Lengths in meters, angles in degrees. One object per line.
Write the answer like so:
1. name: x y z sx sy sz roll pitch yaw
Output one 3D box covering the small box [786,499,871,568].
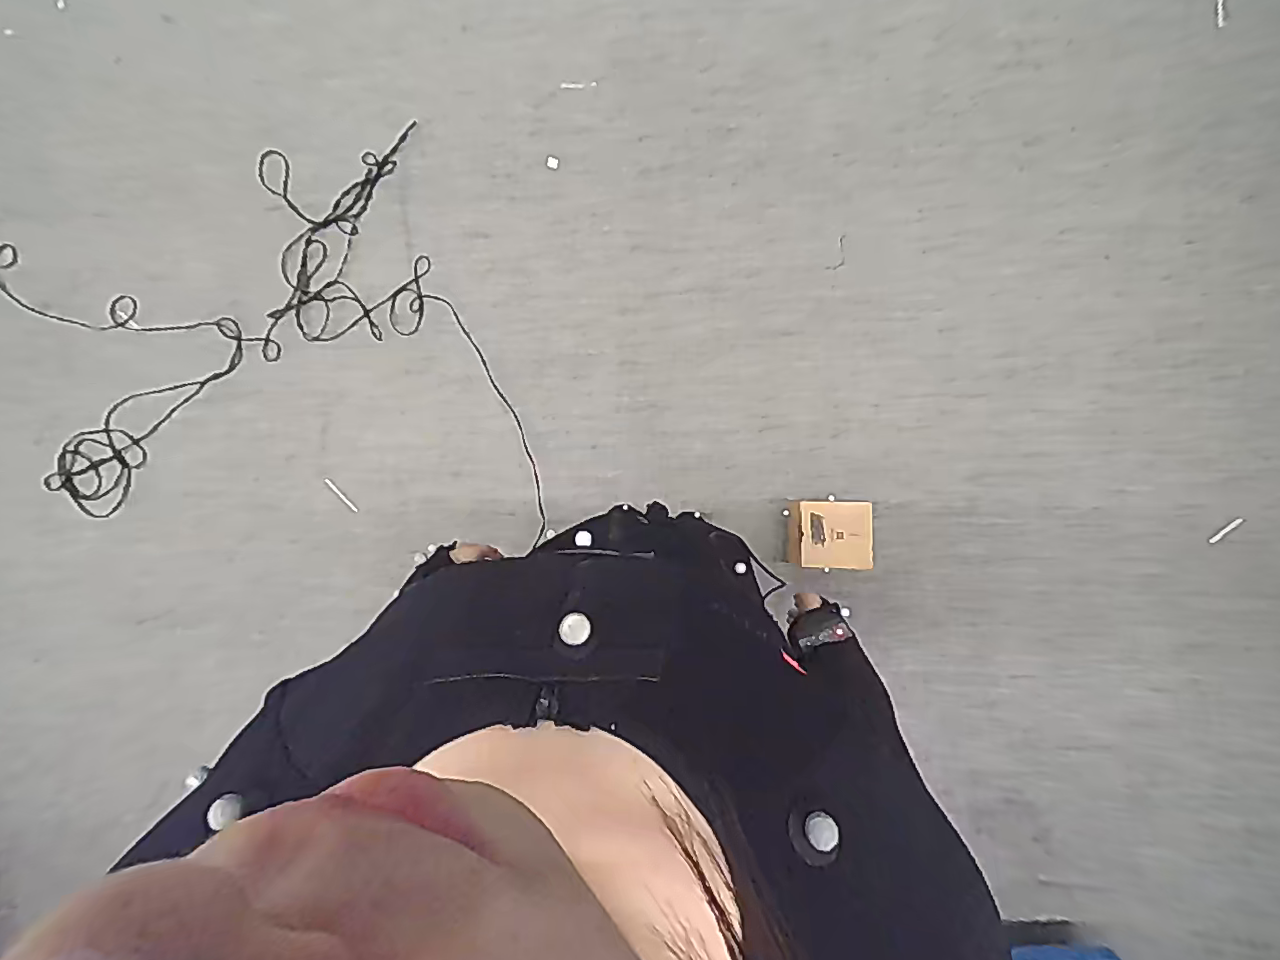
1. small box: 0.481 0.135 1.403 0.179 0.176 0.168 1 88 3
